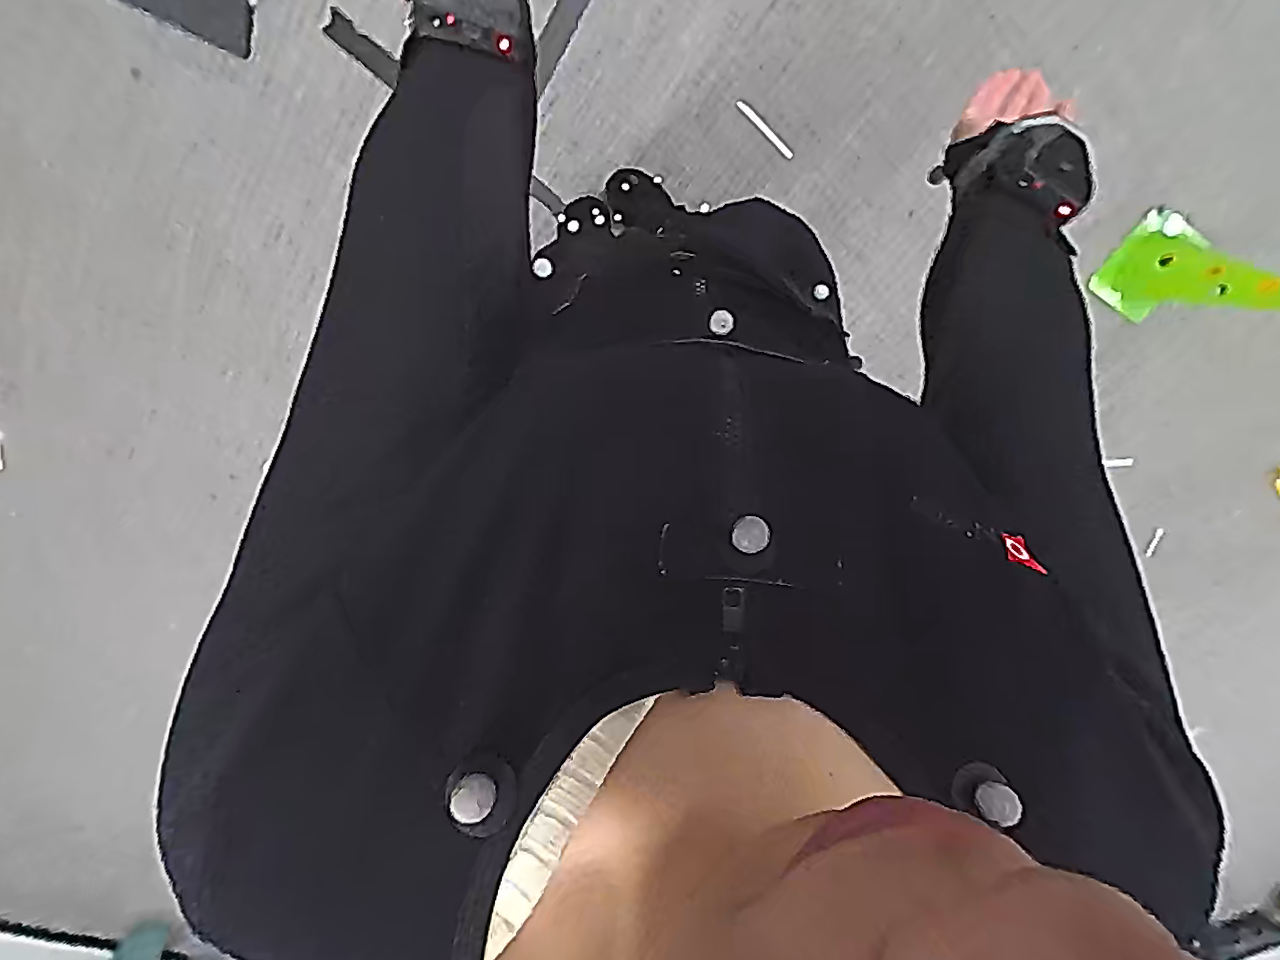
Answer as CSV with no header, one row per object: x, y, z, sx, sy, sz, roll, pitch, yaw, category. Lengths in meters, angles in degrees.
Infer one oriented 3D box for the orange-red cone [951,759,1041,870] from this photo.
1.451,1.337,2.140,0.198,0.360,0.199,28,114,-18,orange-red cone

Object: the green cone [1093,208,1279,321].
1.190,-0.401,1.103,0.202,0.368,0.200,22,117,-17,green cone
